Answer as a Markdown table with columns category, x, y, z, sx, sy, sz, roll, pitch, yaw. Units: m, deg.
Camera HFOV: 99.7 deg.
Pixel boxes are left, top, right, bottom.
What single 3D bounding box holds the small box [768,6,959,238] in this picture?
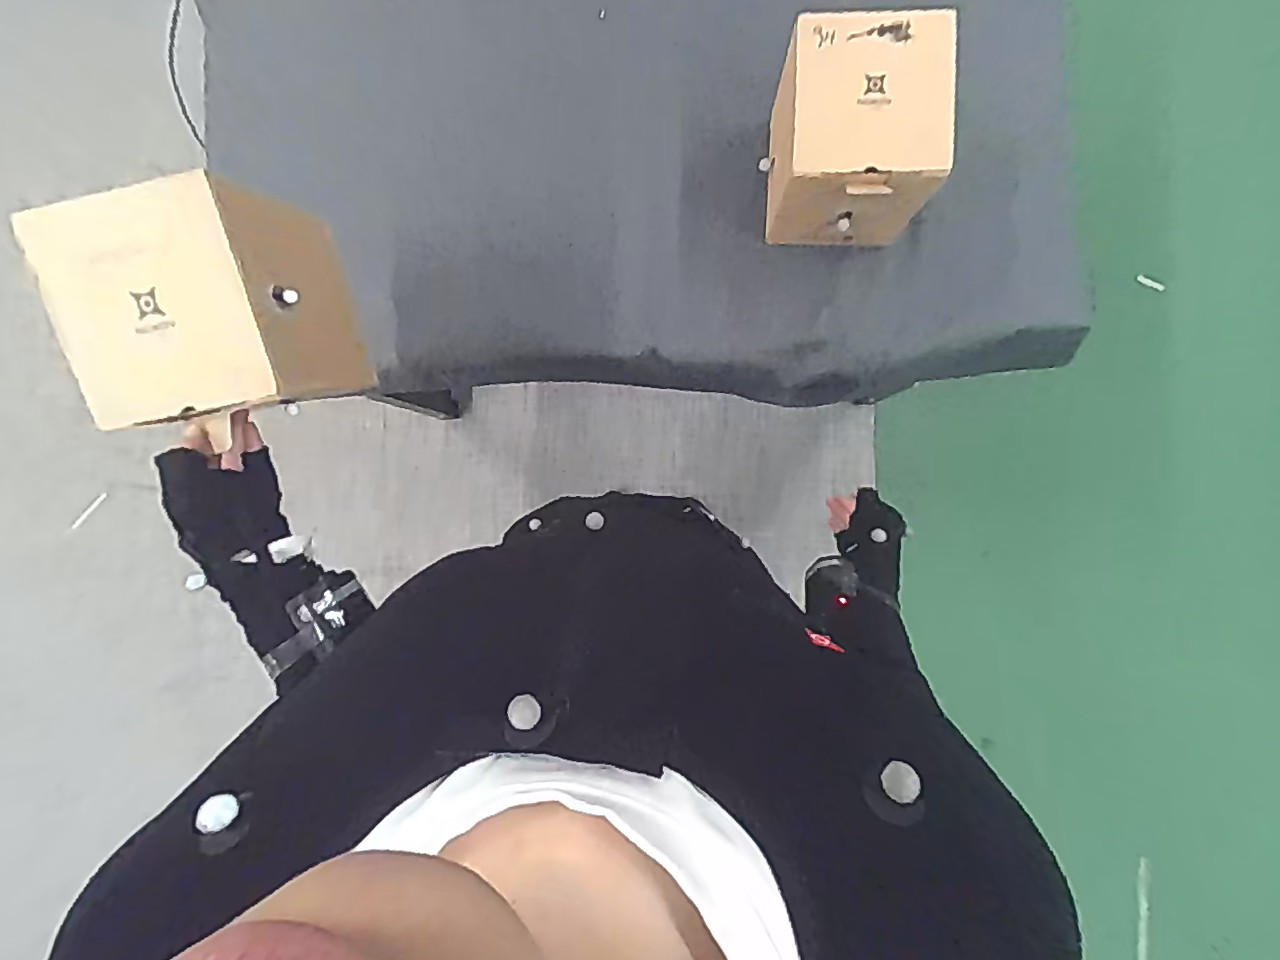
| category | x | y | z | sx | sy | sz | roll | pitch | yaw |
| --- | --- | --- | --- | --- | --- | --- | --- | --- | --- |
| small box | 0.251 | -0.408 | 0.646 | 0.168 | 0.176 | 0.179 | 3 | 90 | 4 |

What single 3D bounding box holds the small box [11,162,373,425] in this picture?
| category | x | y | z | sx | sy | sz | roll | pitch | yaw |
| --- | --- | --- | --- | --- | --- | --- | --- | --- | --- |
| small box | -0.383 | -0.160 | 0.504 | 0.168 | 0.176 | 0.179 | -10 | 103 | 4 |
